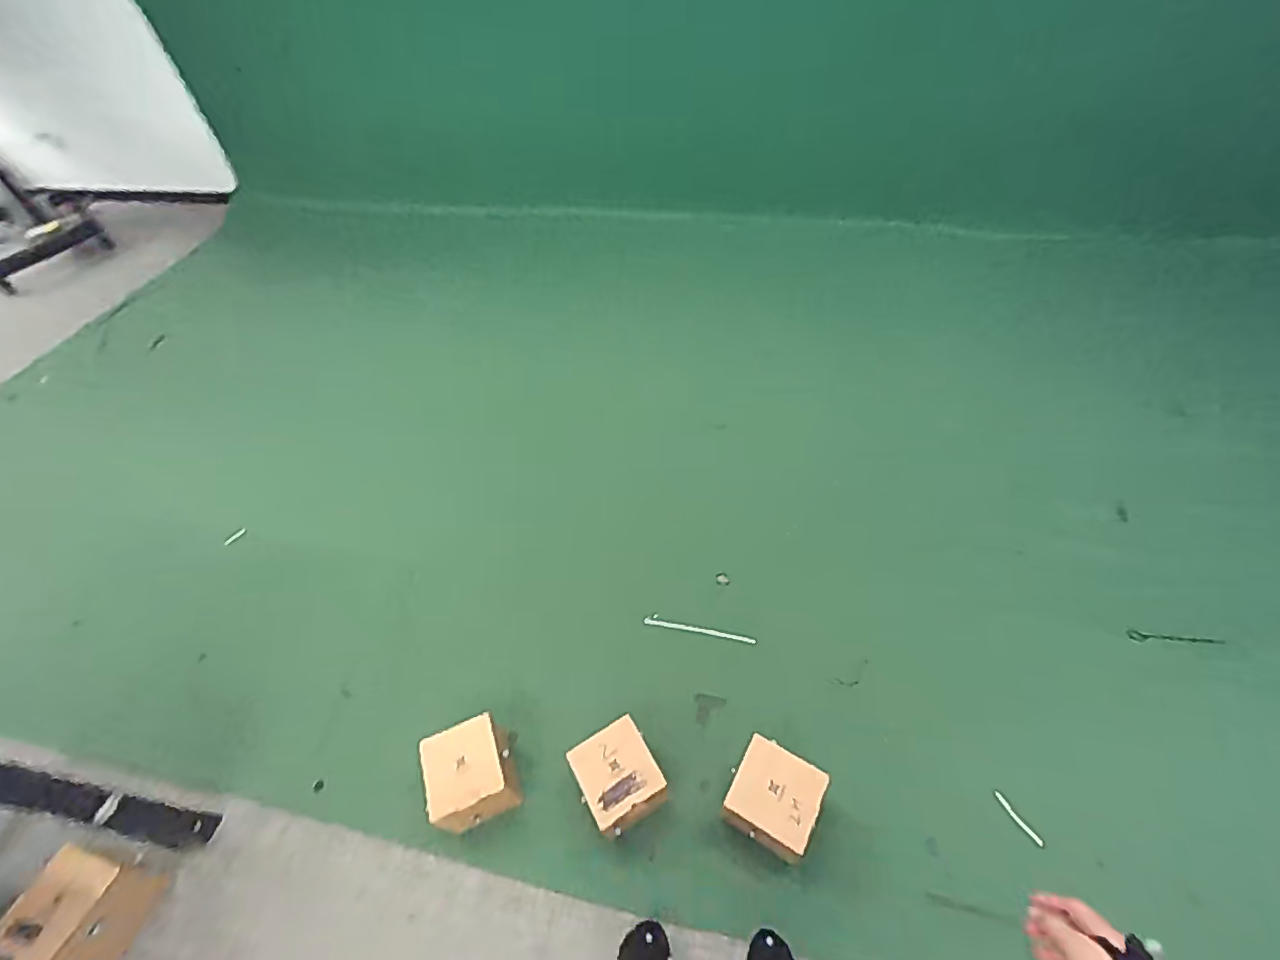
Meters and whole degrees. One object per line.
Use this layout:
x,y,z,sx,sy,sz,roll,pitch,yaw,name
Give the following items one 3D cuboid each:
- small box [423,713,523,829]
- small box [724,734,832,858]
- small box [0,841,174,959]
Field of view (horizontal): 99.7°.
-0.390,0.687,1.271,0.168,0.176,0.179,-20,53,-12,small box
0.296,0.702,1.195,0.179,0.176,0.168,24,57,22,small box
-1.172,0.909,1.155,0.168,0.176,0.179,12,52,14,small box
